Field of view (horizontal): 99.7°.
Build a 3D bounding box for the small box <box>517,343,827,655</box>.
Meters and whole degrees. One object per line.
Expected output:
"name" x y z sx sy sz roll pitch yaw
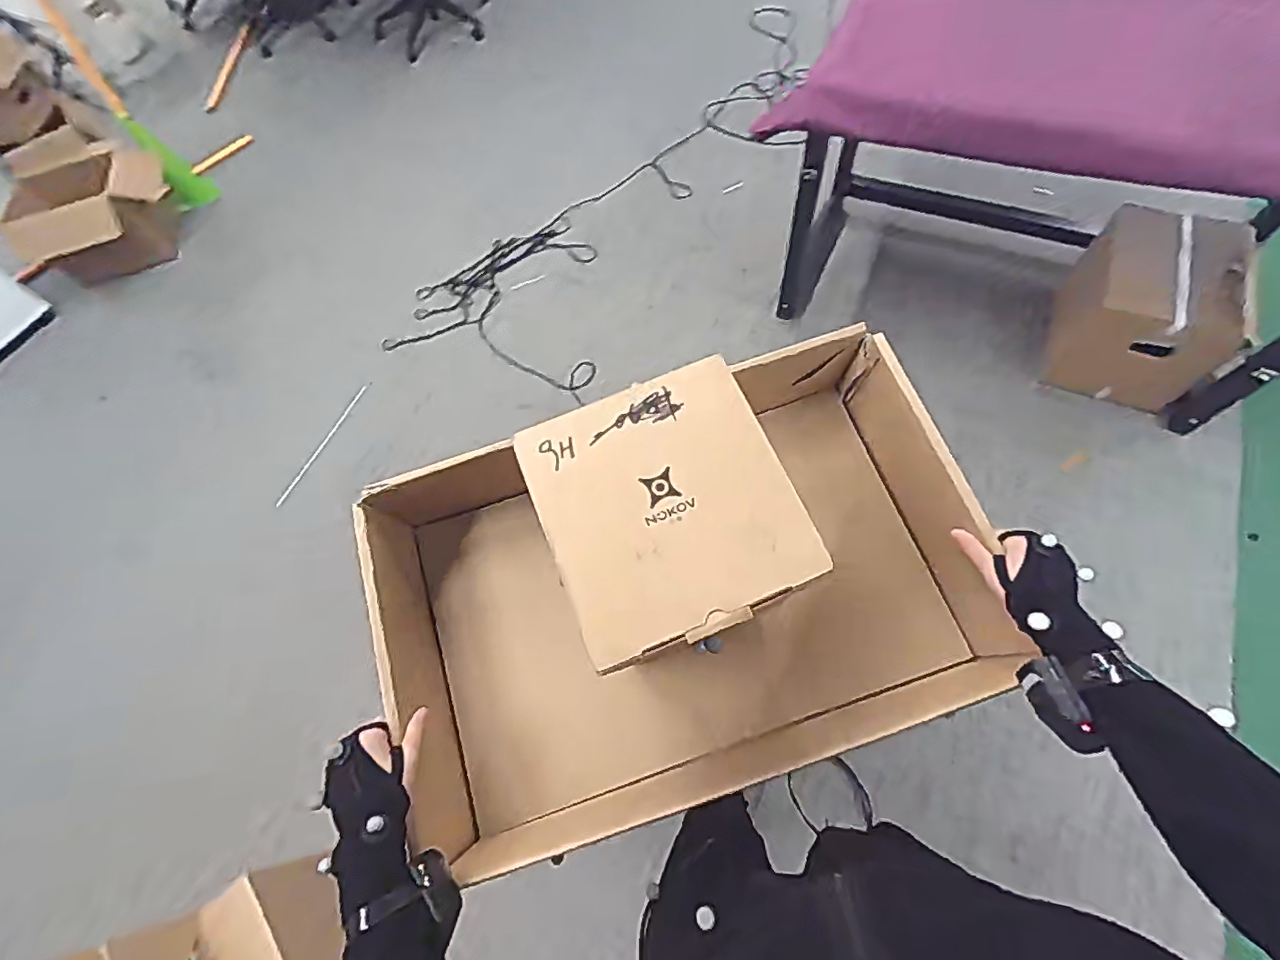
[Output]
"small box" 0.021 0.027 0.440 0.168 0.176 0.179 -21 73 -4
